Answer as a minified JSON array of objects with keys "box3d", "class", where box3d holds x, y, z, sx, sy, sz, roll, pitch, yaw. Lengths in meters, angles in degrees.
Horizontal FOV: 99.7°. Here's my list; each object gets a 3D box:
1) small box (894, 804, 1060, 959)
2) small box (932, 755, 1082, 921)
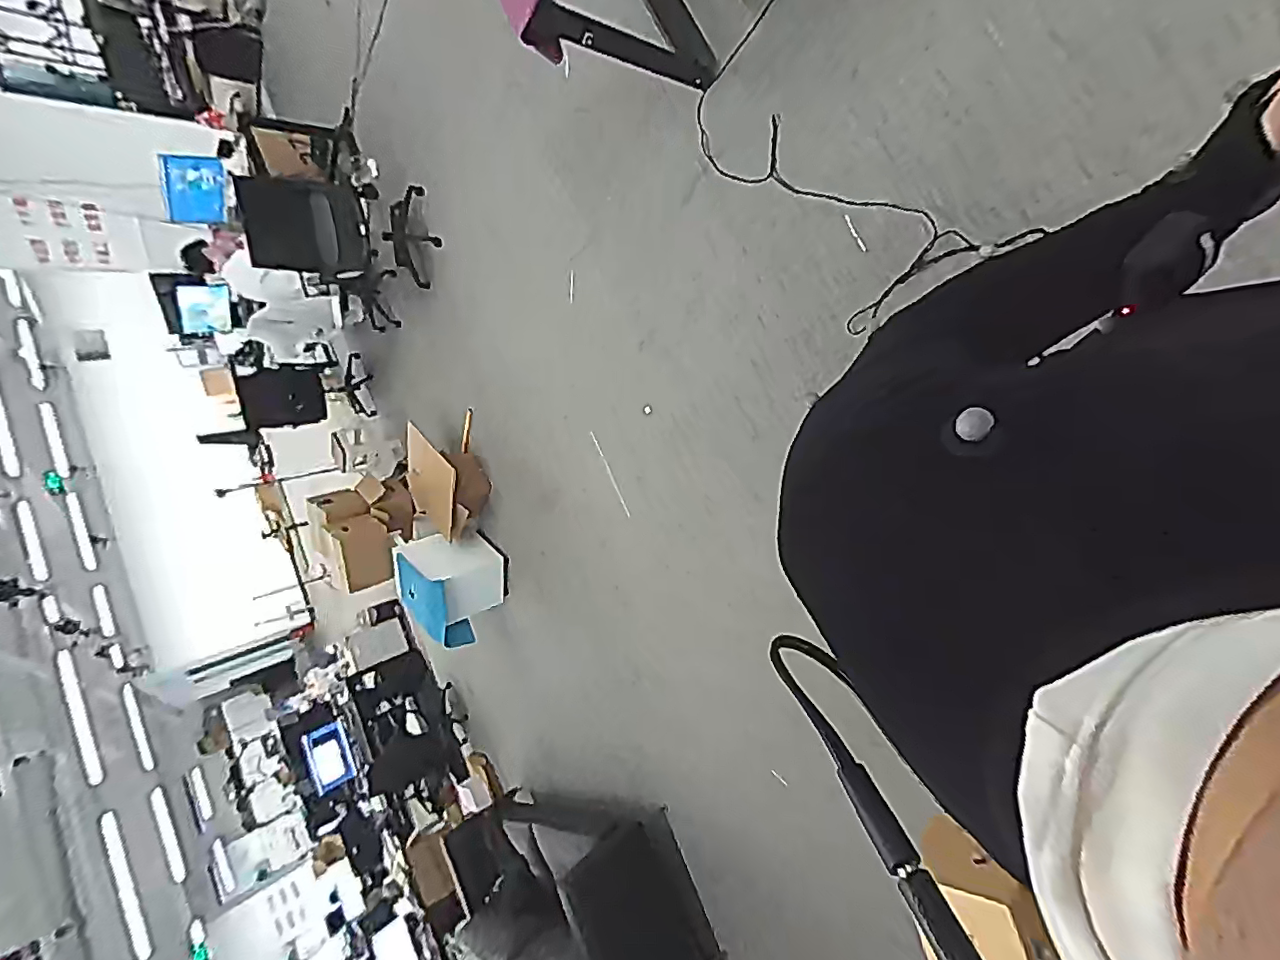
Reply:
[{"box3d":[0.558,0.678,0.894,0.168,0.176,0.179,-21,88,49],"class":"small box"},{"box3d":[0.678,0.640,0.998,0.168,0.176,0.179,-22,88,49],"class":"small box"}]
